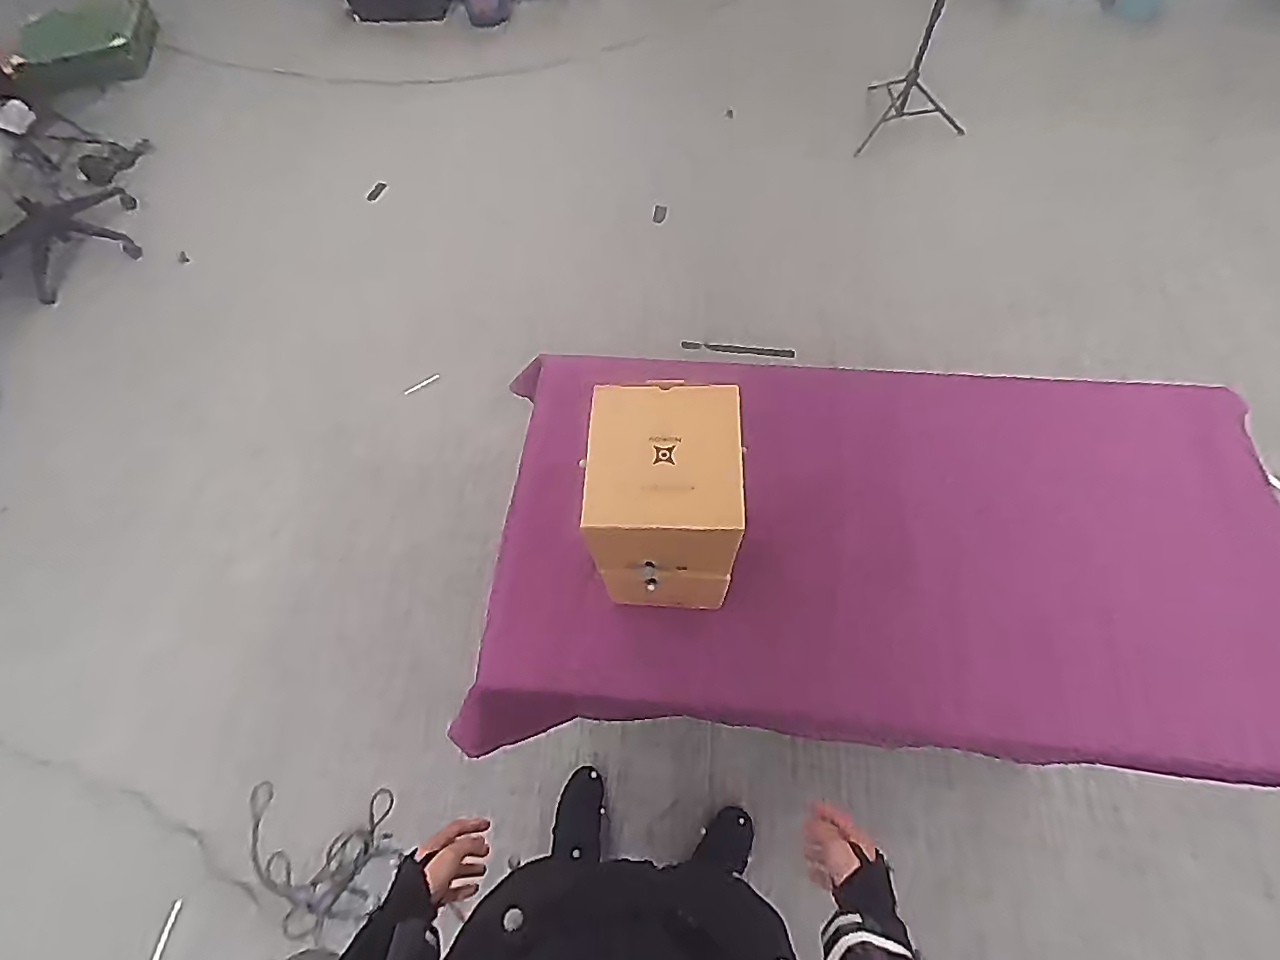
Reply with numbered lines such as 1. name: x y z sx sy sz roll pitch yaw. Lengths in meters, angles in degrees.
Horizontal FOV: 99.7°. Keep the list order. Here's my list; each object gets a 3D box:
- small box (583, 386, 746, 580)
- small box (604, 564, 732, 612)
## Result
1. small box: 0.032 0.008 0.645 0.168 0.176 0.179 1 64 4
2. small box: 0.045 0.082 0.791 0.168 0.176 0.179 3 64 5
